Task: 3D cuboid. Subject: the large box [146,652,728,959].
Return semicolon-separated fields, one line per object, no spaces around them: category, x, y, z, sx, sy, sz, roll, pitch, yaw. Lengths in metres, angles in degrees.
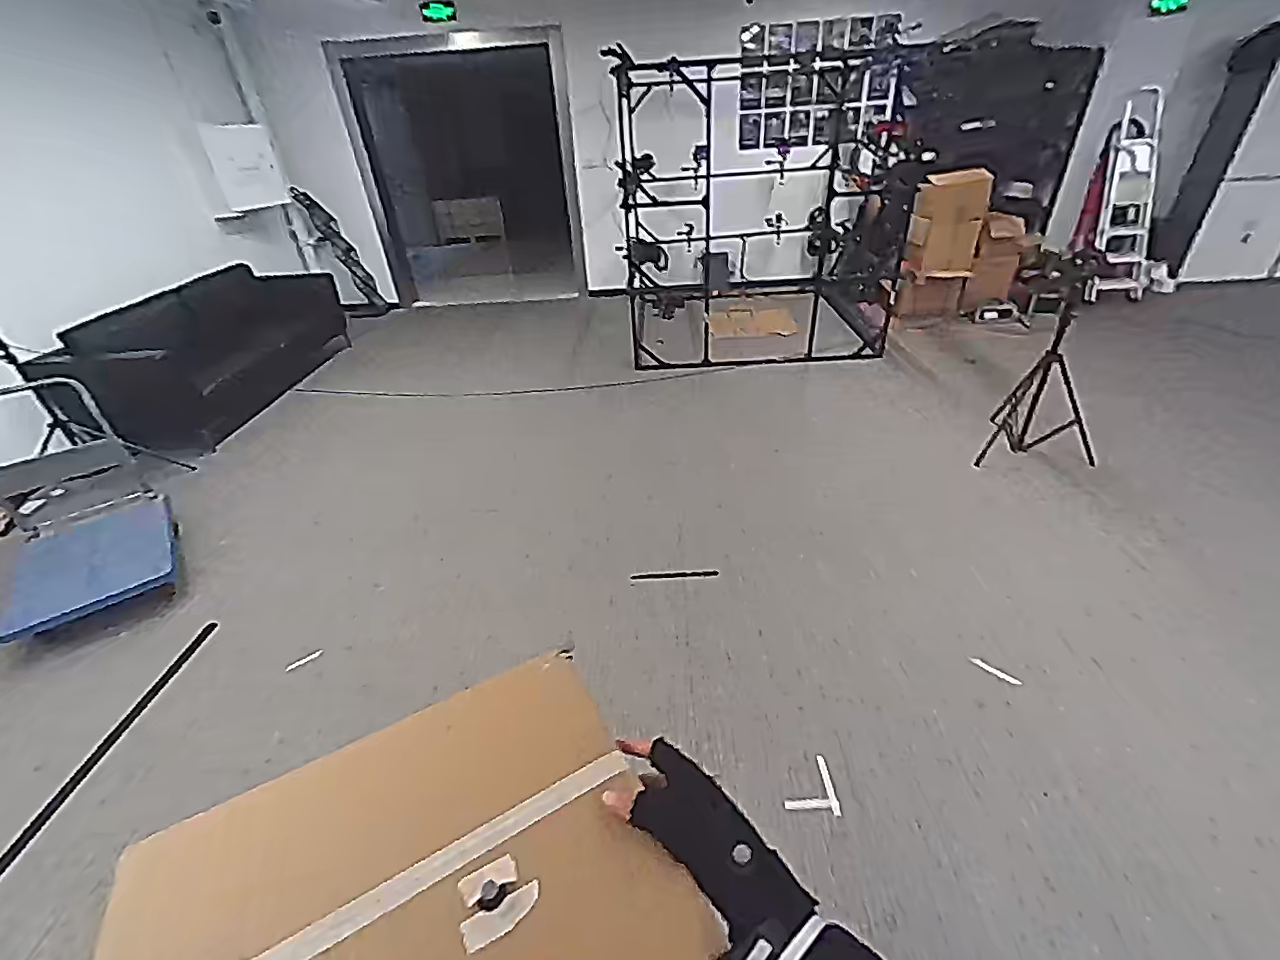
large box;-0.167;0.452;0.519;0.408;0.320;0.320;-19;36;-21
